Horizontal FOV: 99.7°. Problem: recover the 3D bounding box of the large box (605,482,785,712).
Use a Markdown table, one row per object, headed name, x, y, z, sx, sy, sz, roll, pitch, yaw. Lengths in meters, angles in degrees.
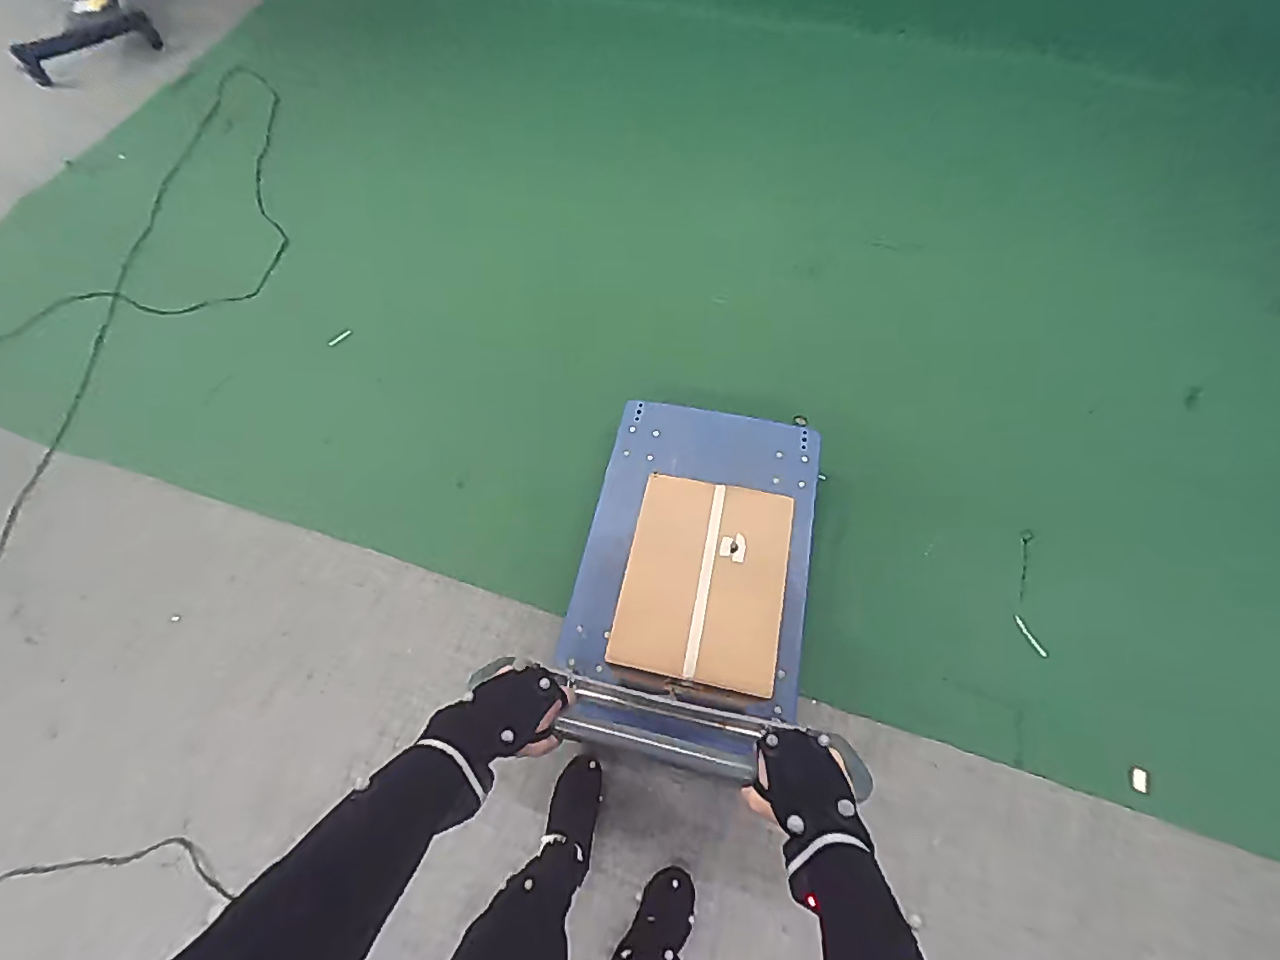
| name | x | y | z | sx | sy | sz | roll | pitch | yaw |
| --- | --- | --- | --- | --- | --- | --- | --- | --- | --- |
| large box | 0.126 | 0.270 | 1.210 | 0.320 | 0.320 | 0.408 | 10 | 64 | 7 |
